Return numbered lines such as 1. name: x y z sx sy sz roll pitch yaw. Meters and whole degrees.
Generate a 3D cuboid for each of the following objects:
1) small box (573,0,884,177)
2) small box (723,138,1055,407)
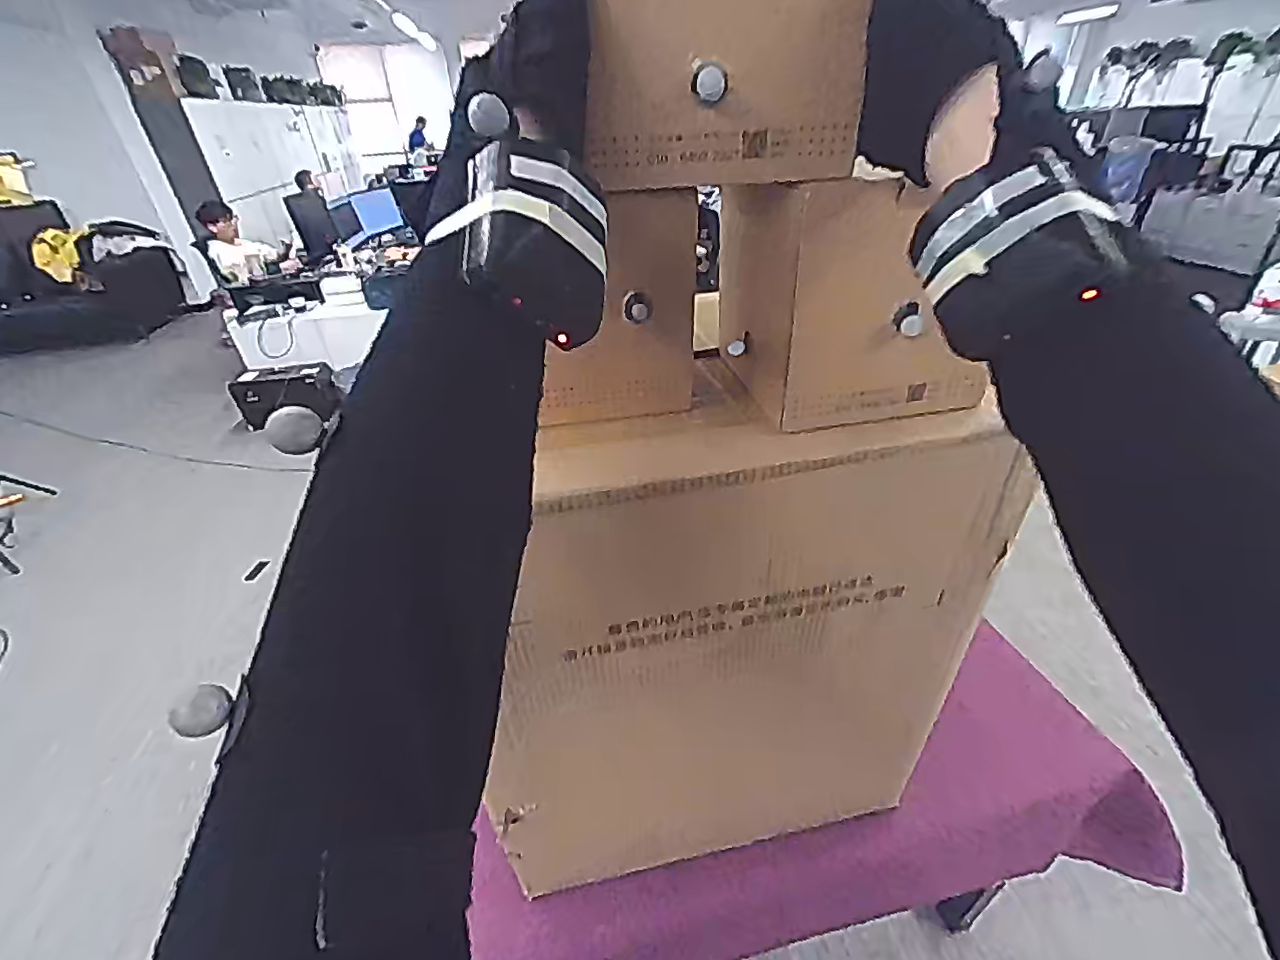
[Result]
1. small box: 0.046 -0.299 0.346 0.168 0.176 0.179 -2 36 2
2. small box: 0.169 -0.167 0.437 0.168 0.176 0.179 -7 34 -6
